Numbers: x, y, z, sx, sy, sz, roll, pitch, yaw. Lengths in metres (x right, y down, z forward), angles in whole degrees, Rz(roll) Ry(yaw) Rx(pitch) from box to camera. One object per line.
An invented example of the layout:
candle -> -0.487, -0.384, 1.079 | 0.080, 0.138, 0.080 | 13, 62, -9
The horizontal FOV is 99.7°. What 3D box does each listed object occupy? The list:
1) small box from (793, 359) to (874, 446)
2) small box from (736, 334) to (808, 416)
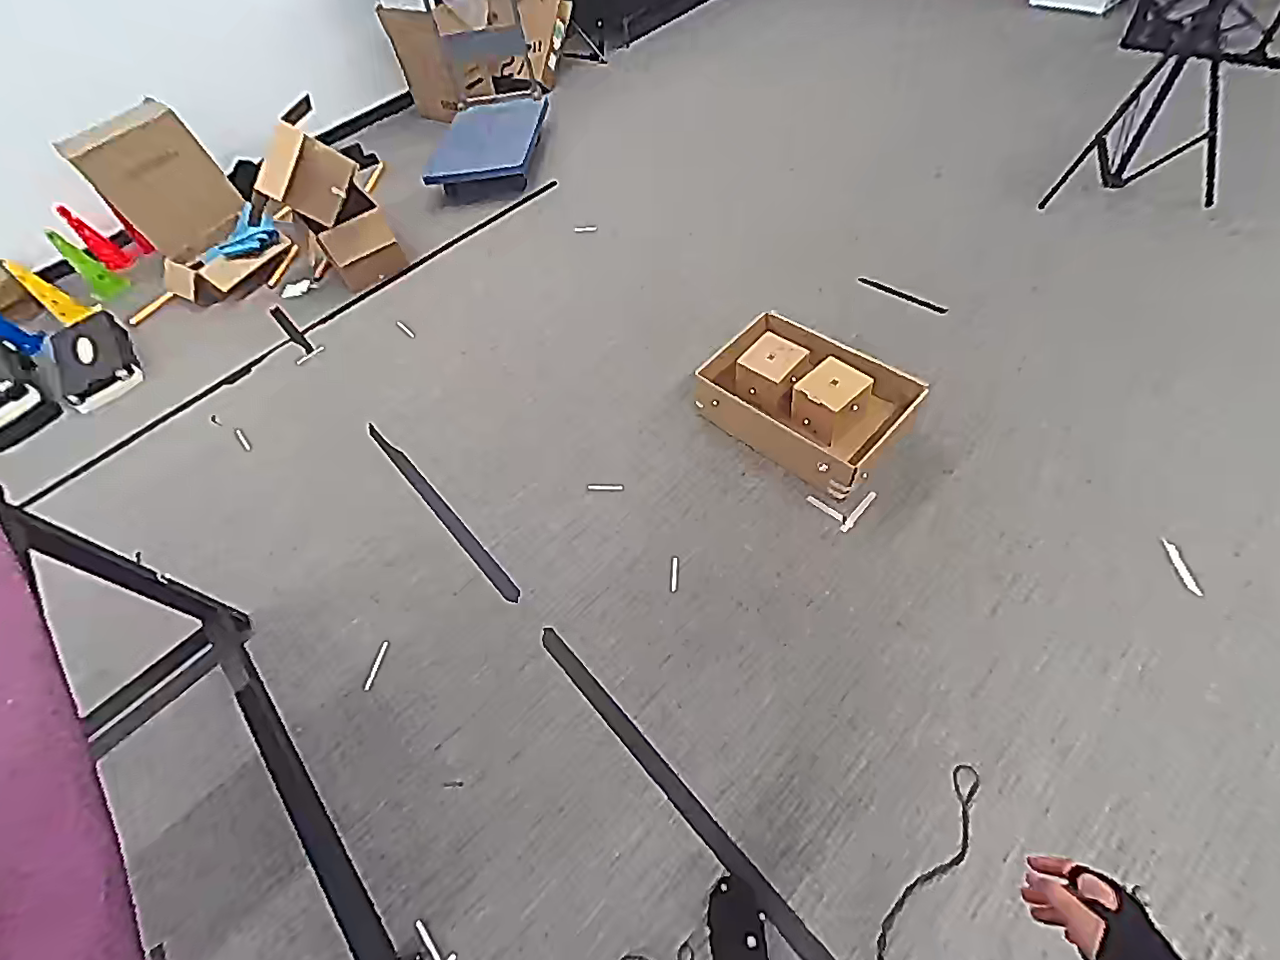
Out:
small box -> 0.604, -0.242, 1.714 | 0.179, 0.176, 0.168 | -37, 57, -15
small box -> 0.440, -0.347, 1.812 | 0.168, 0.176, 0.179 | 36, 68, 27
